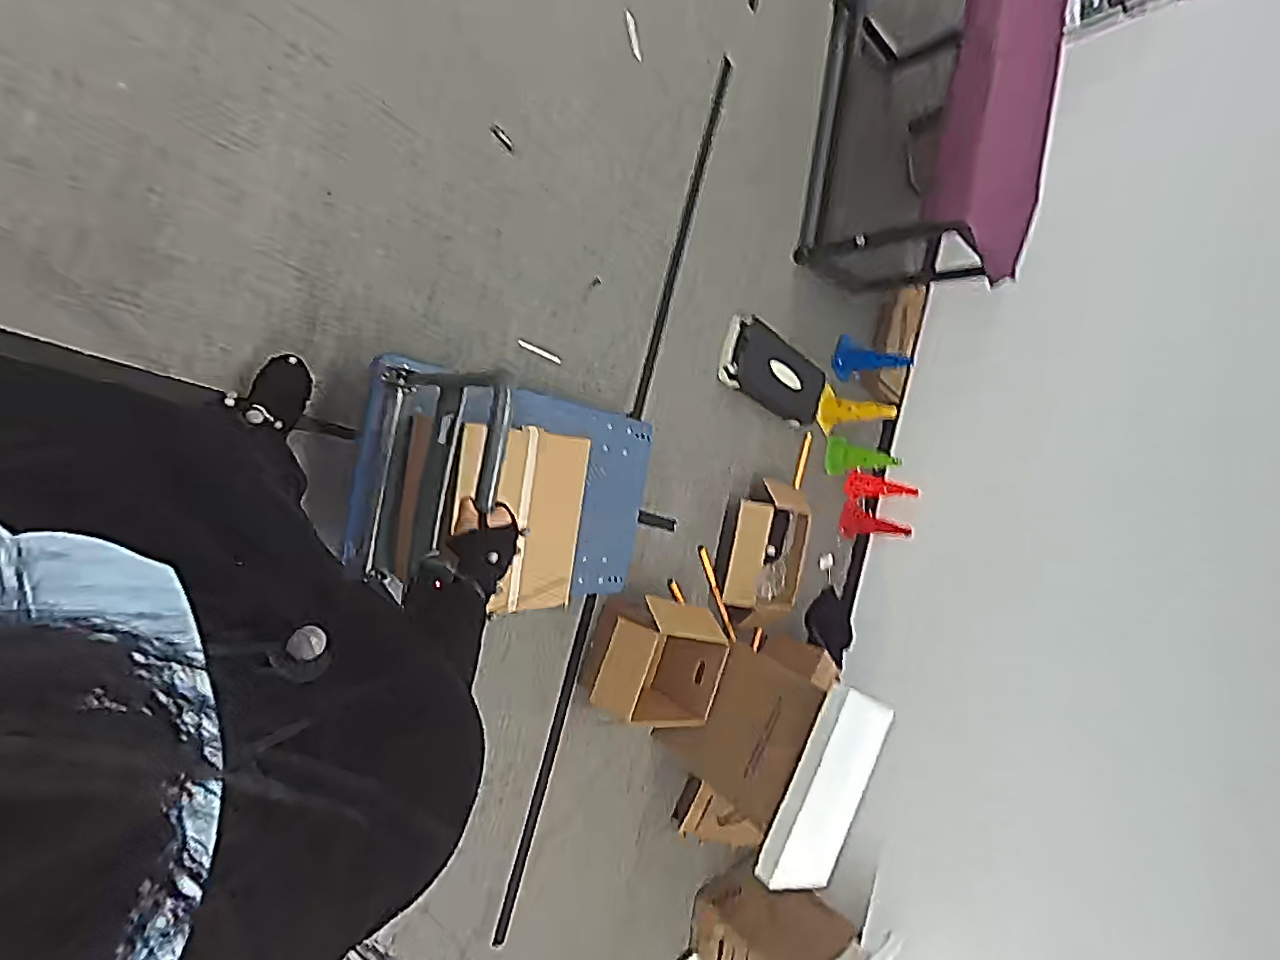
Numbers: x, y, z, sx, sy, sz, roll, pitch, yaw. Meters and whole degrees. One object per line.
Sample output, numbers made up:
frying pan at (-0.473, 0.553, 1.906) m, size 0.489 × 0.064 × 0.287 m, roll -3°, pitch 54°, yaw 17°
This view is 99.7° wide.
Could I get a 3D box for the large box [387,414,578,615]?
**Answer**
large box at (-0.384, 0.066, 1.297) m, size 0.320 × 0.320 × 0.408 m, roll 5°, pitch 96°, yaw -42°
